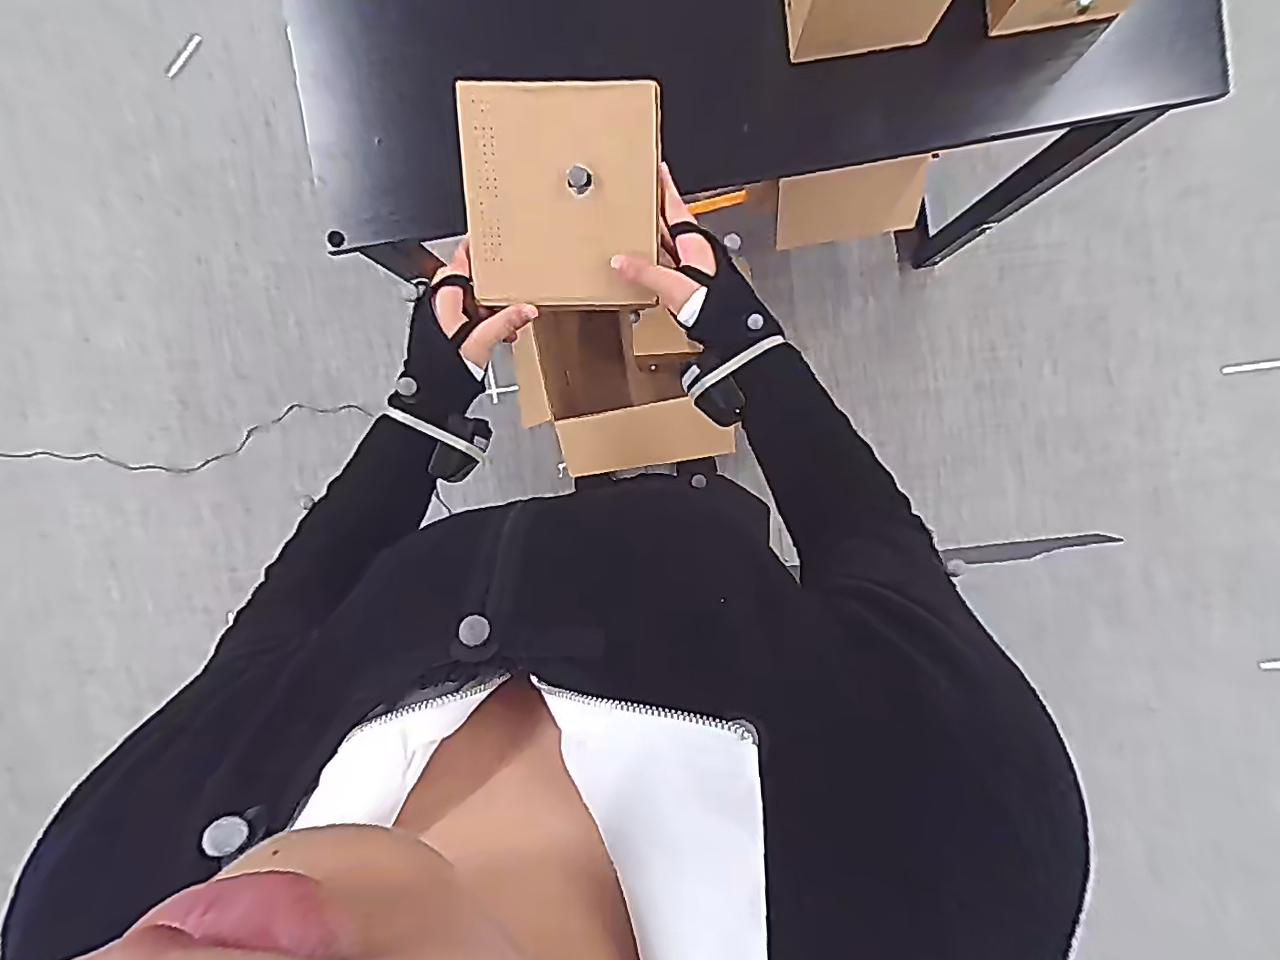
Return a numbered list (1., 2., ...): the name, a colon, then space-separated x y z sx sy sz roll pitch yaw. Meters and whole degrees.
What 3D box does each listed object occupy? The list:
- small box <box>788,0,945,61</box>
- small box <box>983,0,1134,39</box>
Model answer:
1. small box: 0.270 -0.629 0.625 0.179 0.176 0.168 -6 93 2
2. small box: 0.513 -0.658 0.611 0.168 0.176 0.179 -6 93 4
